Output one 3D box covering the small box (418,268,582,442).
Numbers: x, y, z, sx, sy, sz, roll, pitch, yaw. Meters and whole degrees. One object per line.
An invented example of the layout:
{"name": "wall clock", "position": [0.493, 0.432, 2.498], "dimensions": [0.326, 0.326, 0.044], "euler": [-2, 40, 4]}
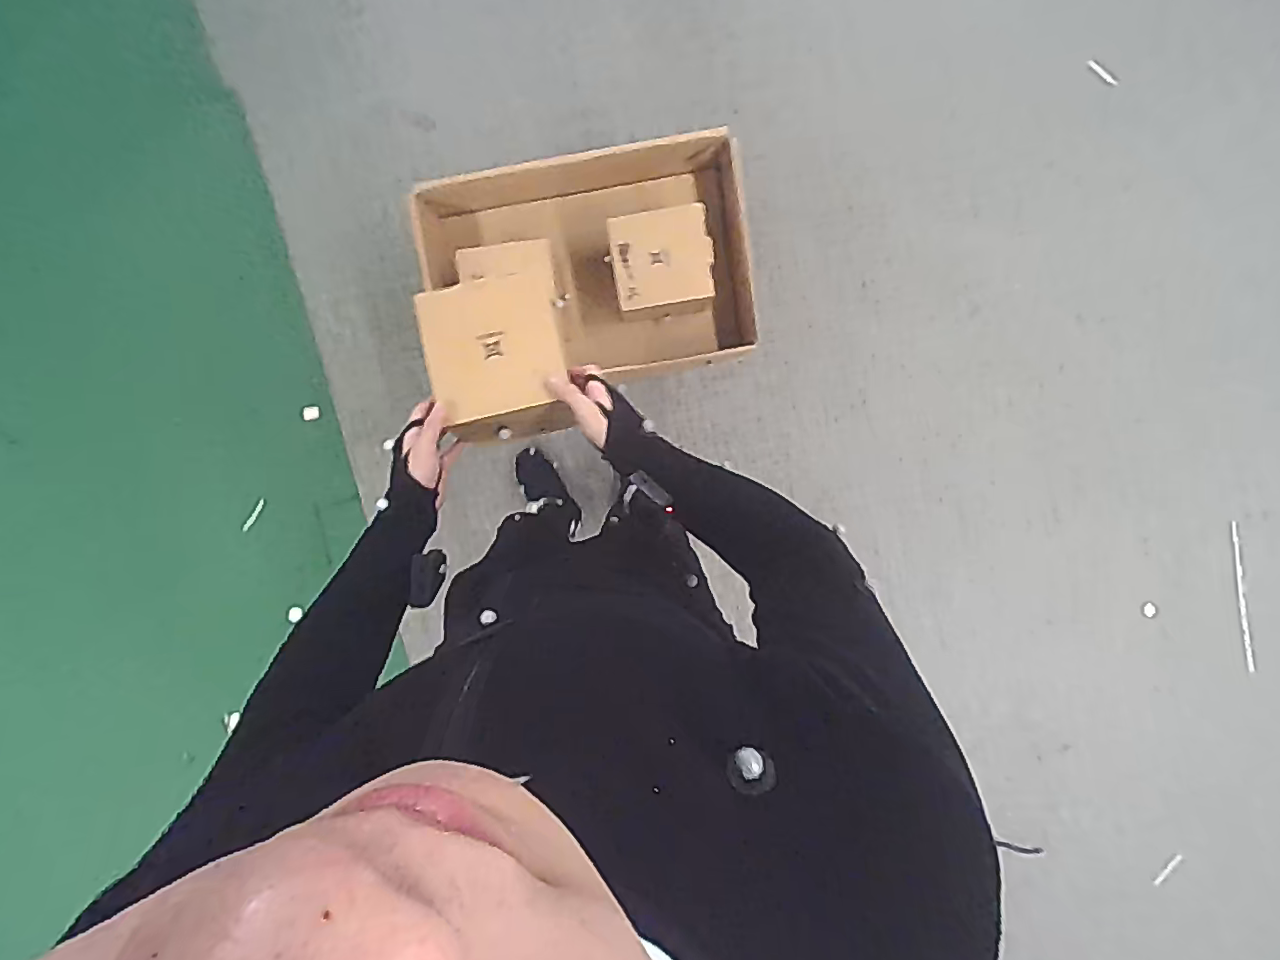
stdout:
{"name": "small box", "position": [-0.180, -0.157, 0.746], "dimensions": [0.168, 0.176, 0.179], "euler": [-13, 84, -3]}
